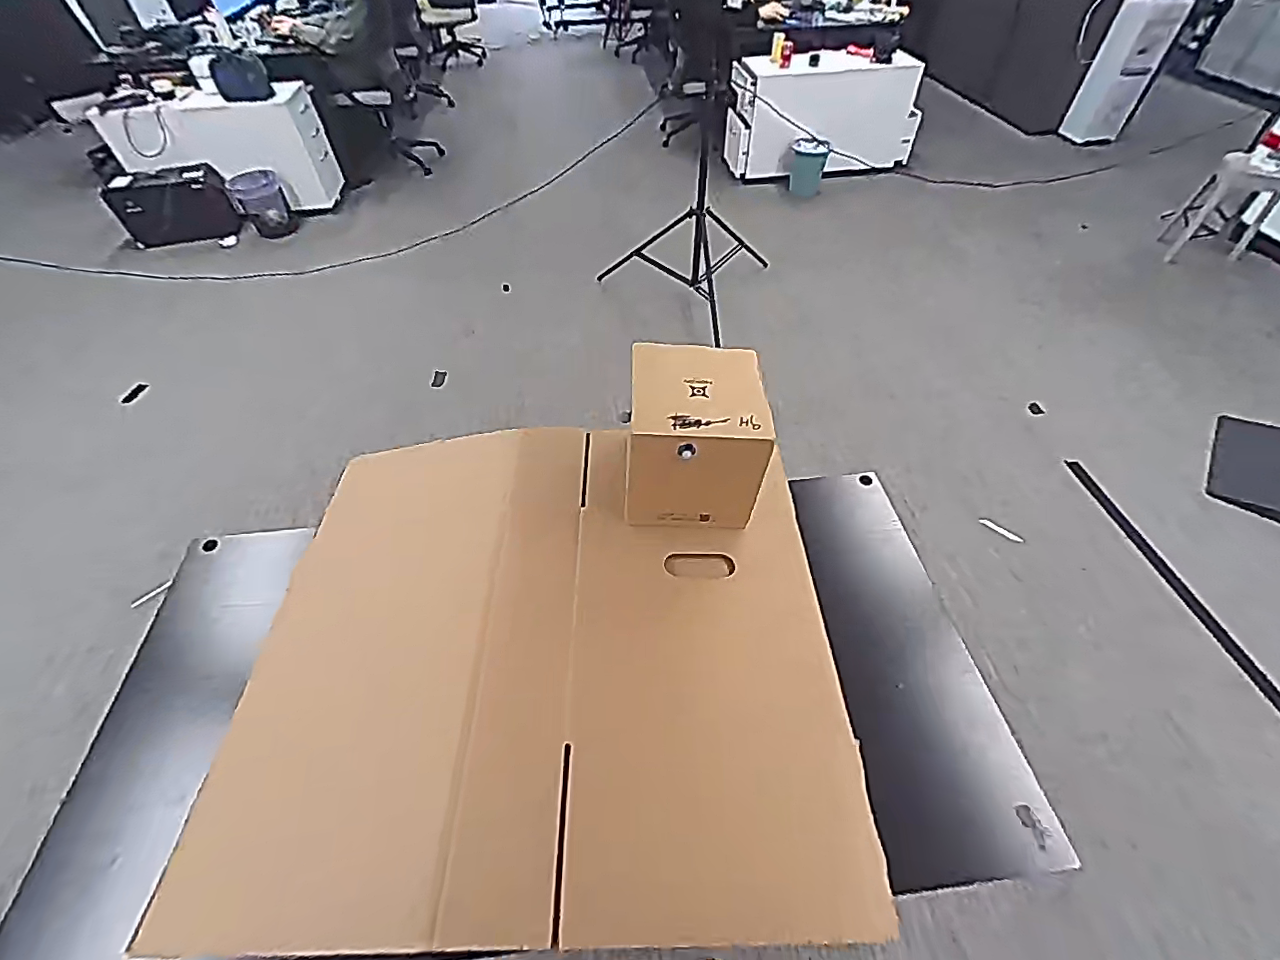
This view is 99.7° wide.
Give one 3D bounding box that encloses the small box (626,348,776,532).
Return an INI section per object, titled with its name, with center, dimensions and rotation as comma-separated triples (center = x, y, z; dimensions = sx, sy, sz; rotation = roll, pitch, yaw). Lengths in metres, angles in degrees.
[small box]
center = 0.067, -0.052, 0.718
dimensions = 0.168, 0.176, 0.179
rotation = 2, 47, -2
